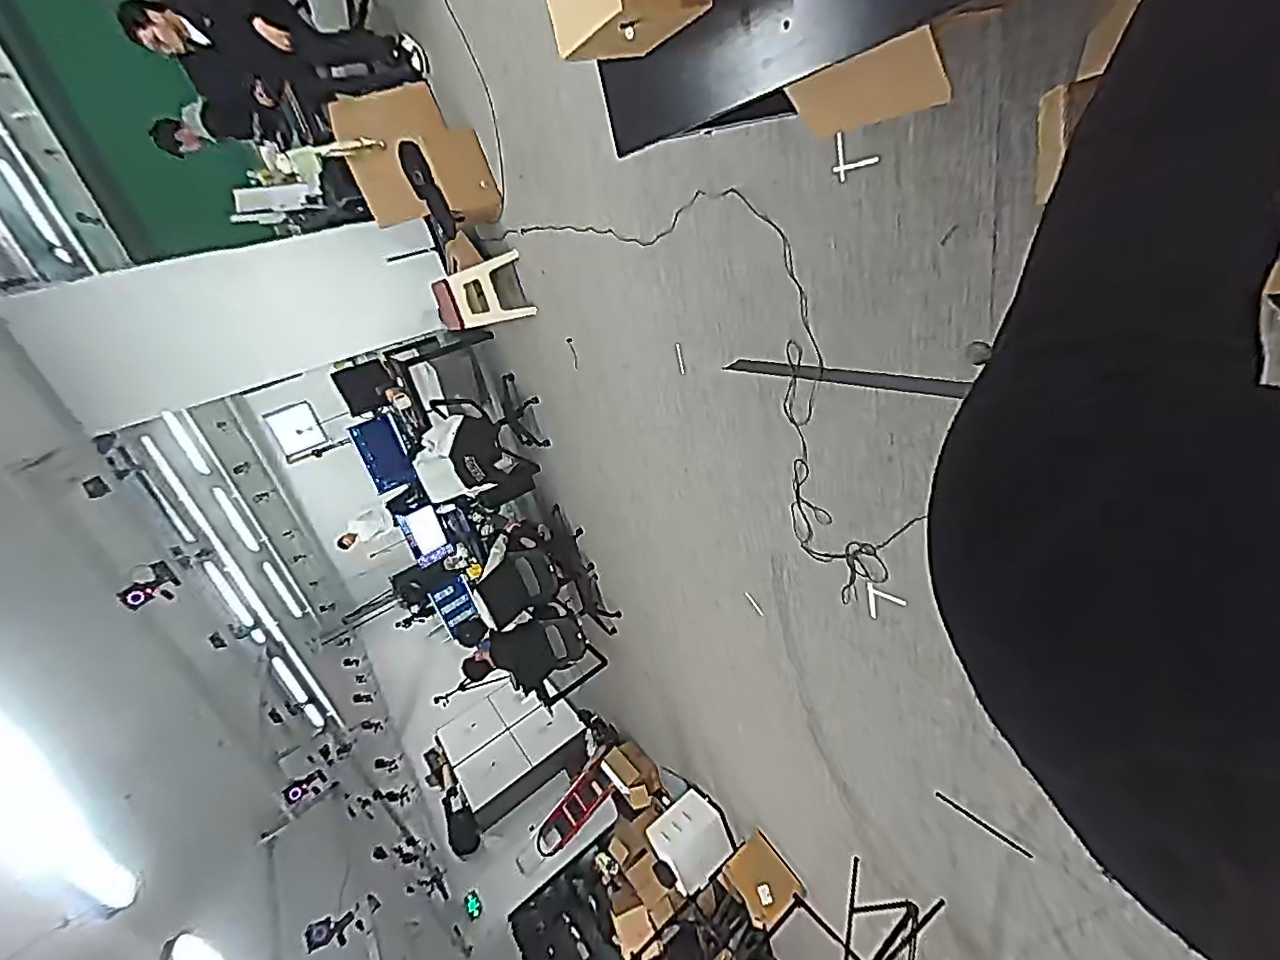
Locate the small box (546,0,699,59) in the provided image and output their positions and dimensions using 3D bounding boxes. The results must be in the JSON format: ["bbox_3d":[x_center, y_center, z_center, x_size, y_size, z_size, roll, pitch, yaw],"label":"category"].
[{"bbox_3d":[-0.029,-0.740,0.775,0.179,0.176,0.168,20,132,52],"label":"small box"}]
